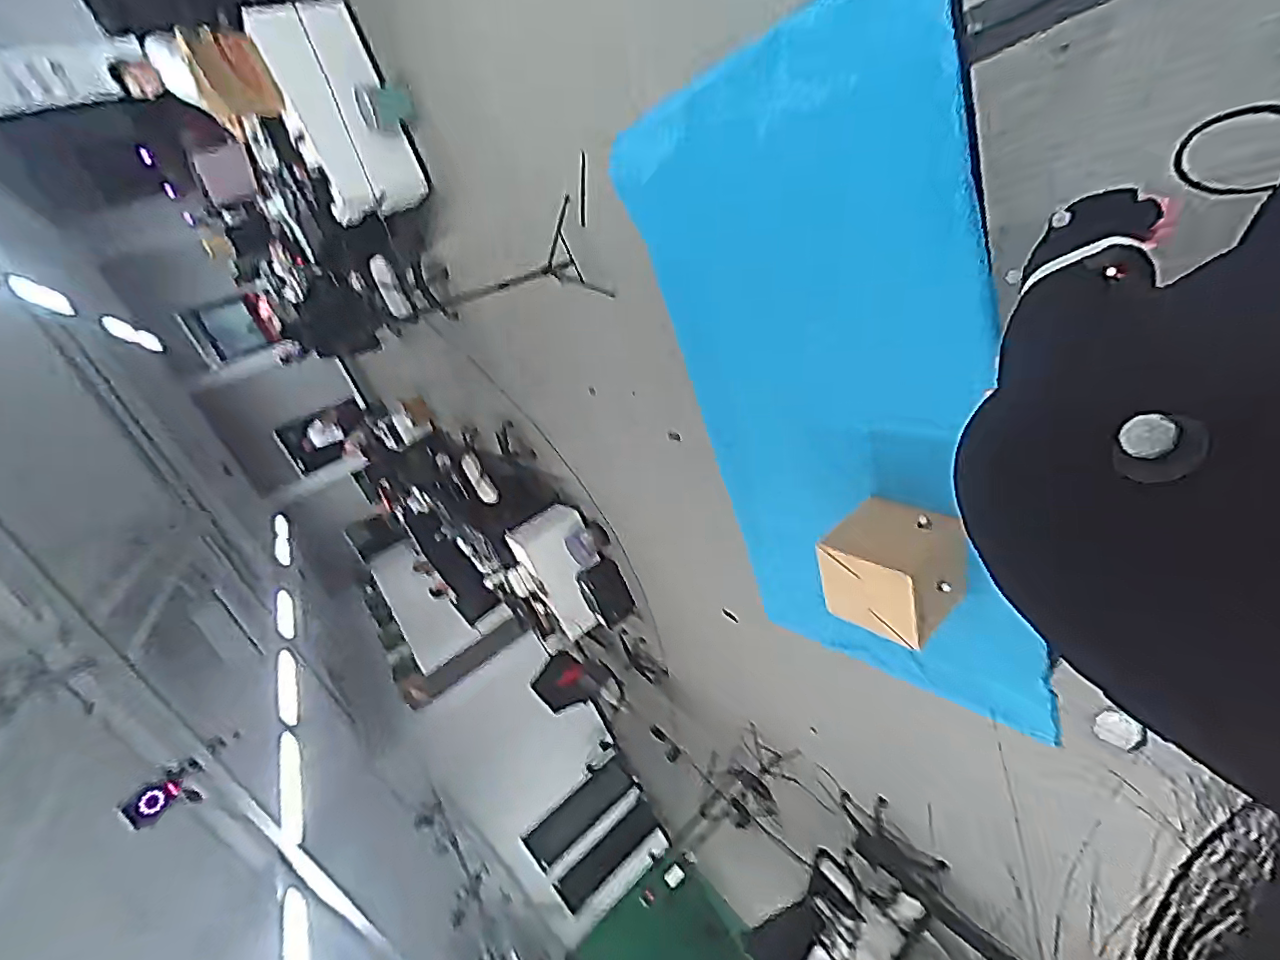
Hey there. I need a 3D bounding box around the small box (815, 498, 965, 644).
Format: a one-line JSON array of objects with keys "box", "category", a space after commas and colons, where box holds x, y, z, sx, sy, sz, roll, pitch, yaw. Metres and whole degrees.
[{"box": [0.445, 0.157, 0.962, 0.179, 0.176, 0.168, 18, 134, 52], "category": "small box"}]
